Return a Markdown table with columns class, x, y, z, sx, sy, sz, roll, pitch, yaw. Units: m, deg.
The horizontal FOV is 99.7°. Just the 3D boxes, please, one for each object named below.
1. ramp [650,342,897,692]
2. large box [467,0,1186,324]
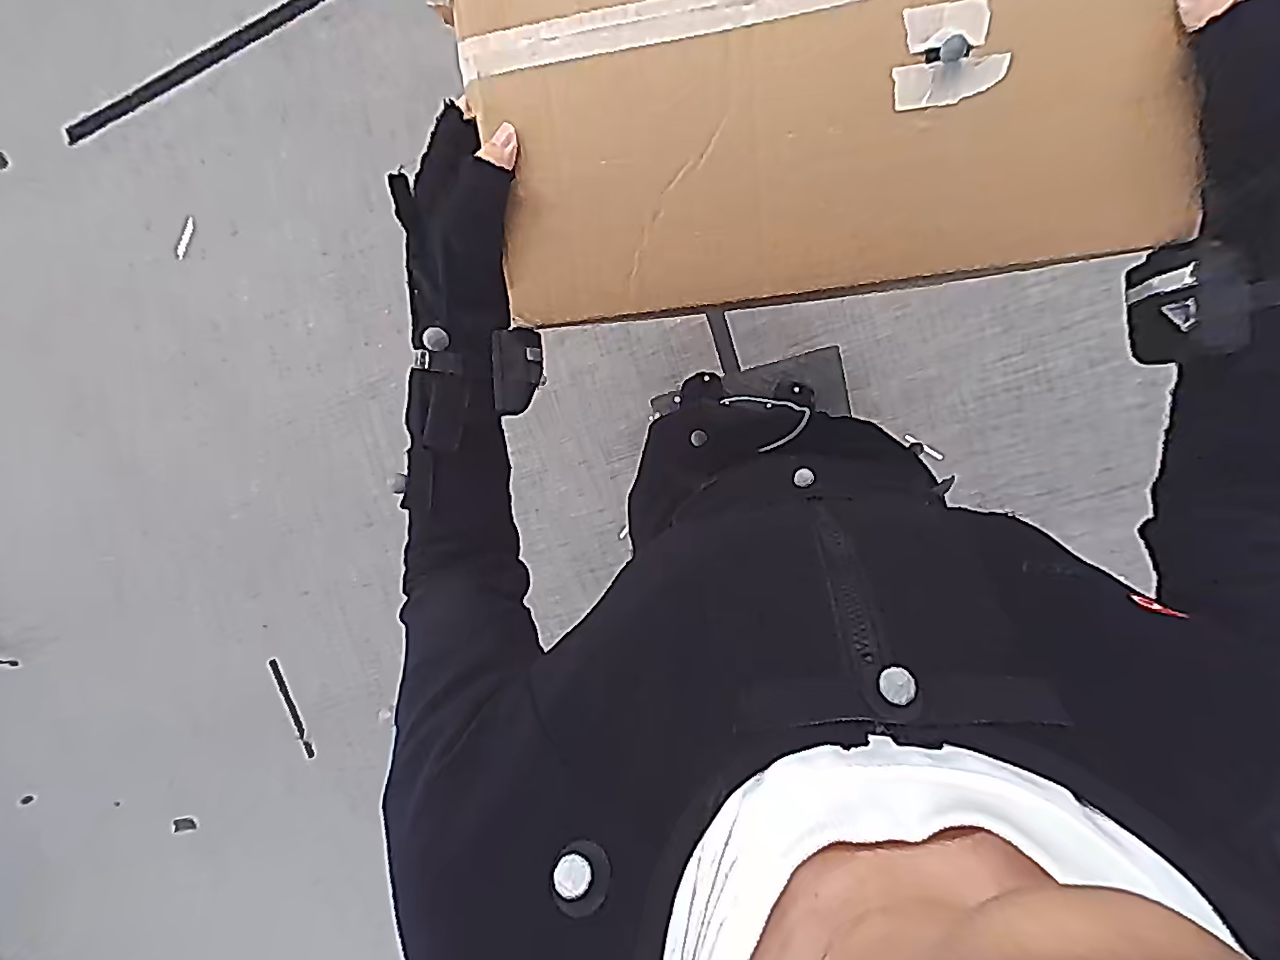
| class | x | y | z | sx | sy | sz | roll | pitch | yaw |
| --- | --- | --- | --- | --- | --- | --- | --- | --- | --- |
| ramp | 0.406 | 0.163 | 1.531 | 0.509 | 0.206 | 0.991 | -17 | 98 | 10 |
| large box | 0.109 | -0.316 | 0.453 | 0.408 | 0.320 | 0.320 | -5 | 106 | 8 |
